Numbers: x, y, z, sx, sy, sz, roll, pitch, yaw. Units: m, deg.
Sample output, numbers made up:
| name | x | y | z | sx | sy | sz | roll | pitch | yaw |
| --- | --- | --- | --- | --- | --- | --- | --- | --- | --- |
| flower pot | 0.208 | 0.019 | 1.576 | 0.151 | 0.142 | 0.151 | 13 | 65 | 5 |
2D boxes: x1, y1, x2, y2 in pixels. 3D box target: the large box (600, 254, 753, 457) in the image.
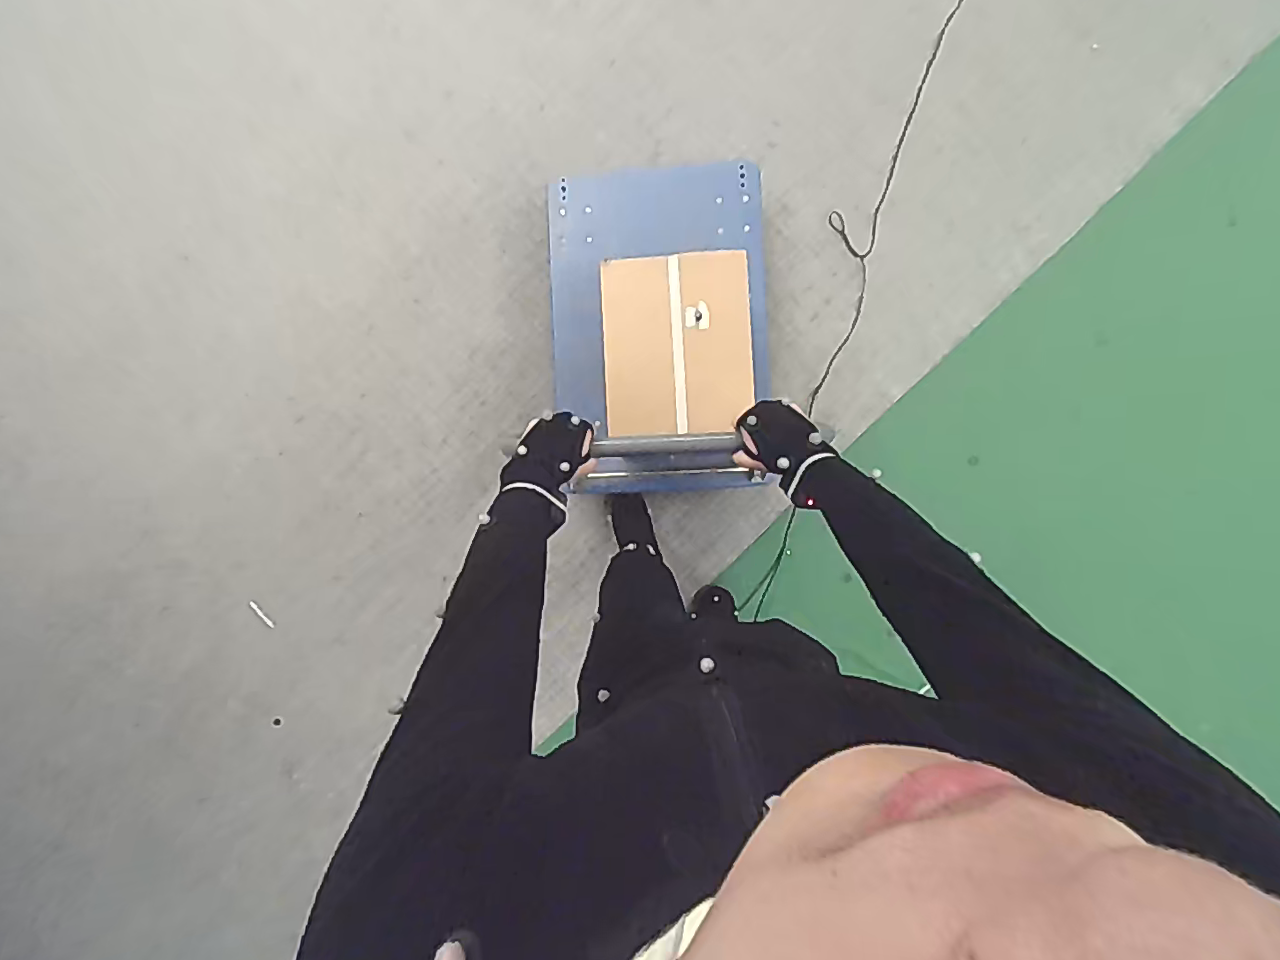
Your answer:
| name | x | y | z | sx | sy | sz | roll | pitch | yaw |
| --- | --- | --- | --- | --- | --- | --- | --- | --- | --- |
| large box | 0.086 | -0.275 | 1.311 | 0.320 | 0.320 | 0.408 | -3 | 88 | 3 |
